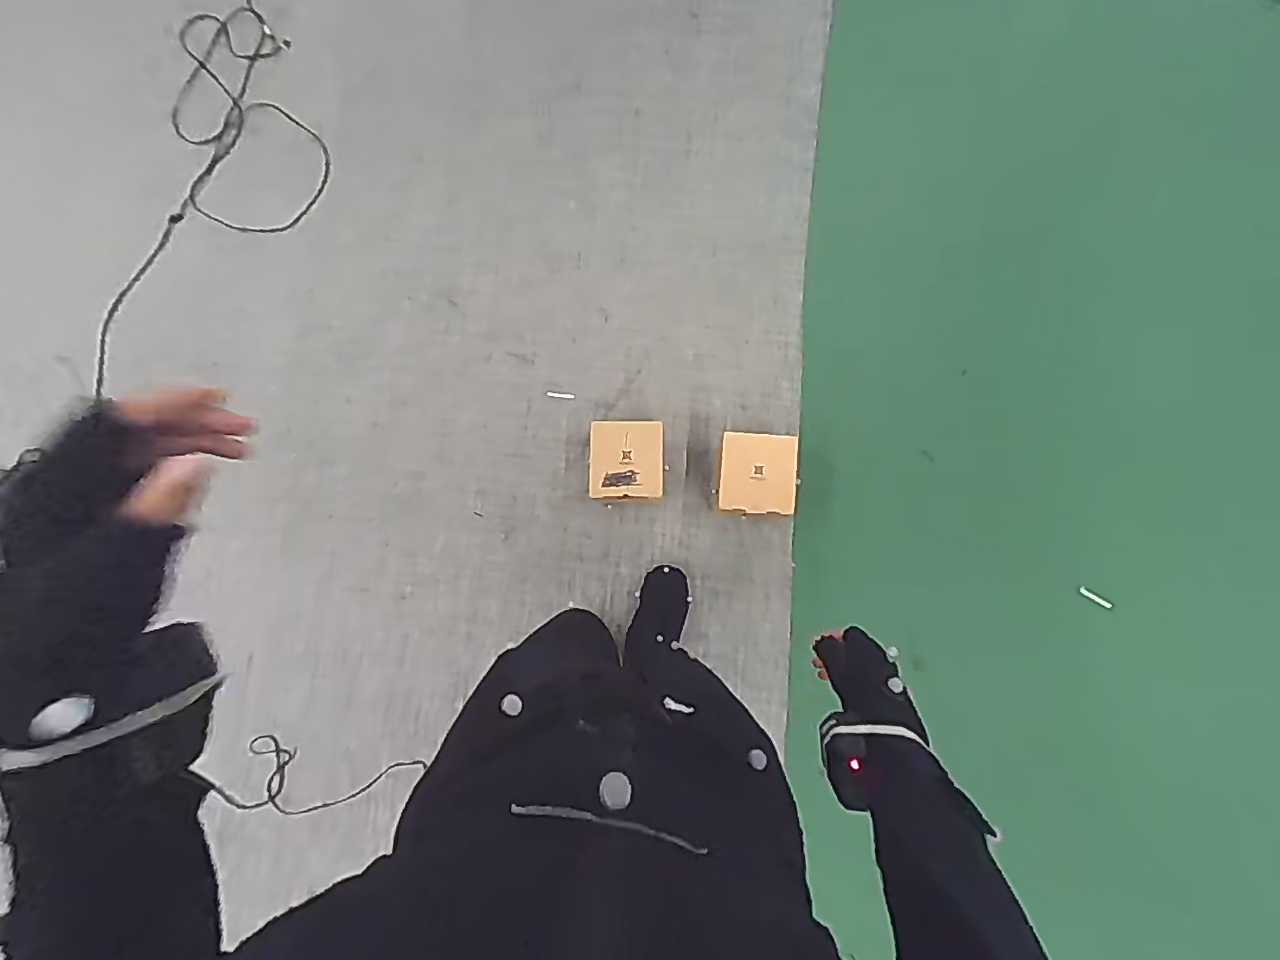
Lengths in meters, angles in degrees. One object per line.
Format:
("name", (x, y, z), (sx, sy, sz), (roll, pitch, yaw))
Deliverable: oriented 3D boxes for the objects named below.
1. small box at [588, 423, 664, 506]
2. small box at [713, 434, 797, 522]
("small box", (-0.027, -0.031, 1.290), (0.168, 0.176, 0.179), (1, 81, 3))
("small box", (0.263, 0.000, 1.270), (0.168, 0.176, 0.179), (5, 82, 4))
